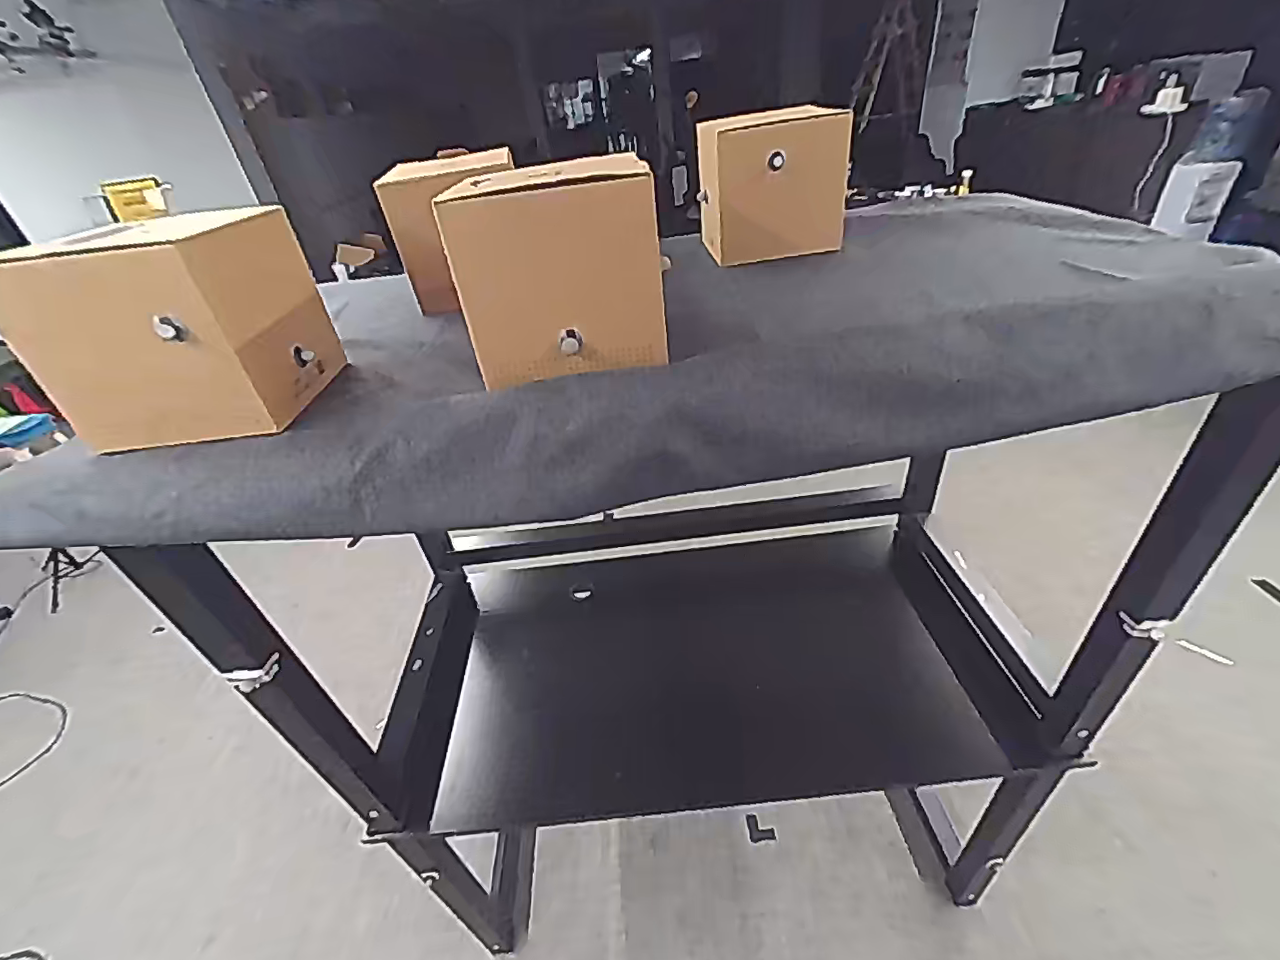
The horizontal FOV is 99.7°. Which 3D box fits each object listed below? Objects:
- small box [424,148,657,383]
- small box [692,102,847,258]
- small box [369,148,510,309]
[{"bbox_3d":[-0.078,-0.209,0.523,0.179,0.176,0.168,-7,34,0],"label":"small box"},{"bbox_3d":[0.177,-0.430,0.777,0.179,0.176,0.168,-8,36,1],"label":"small box"},{"bbox_3d":[-0.250,-0.357,0.766,0.168,0.176,0.179,-13,36,-4],"label":"small box"}]
